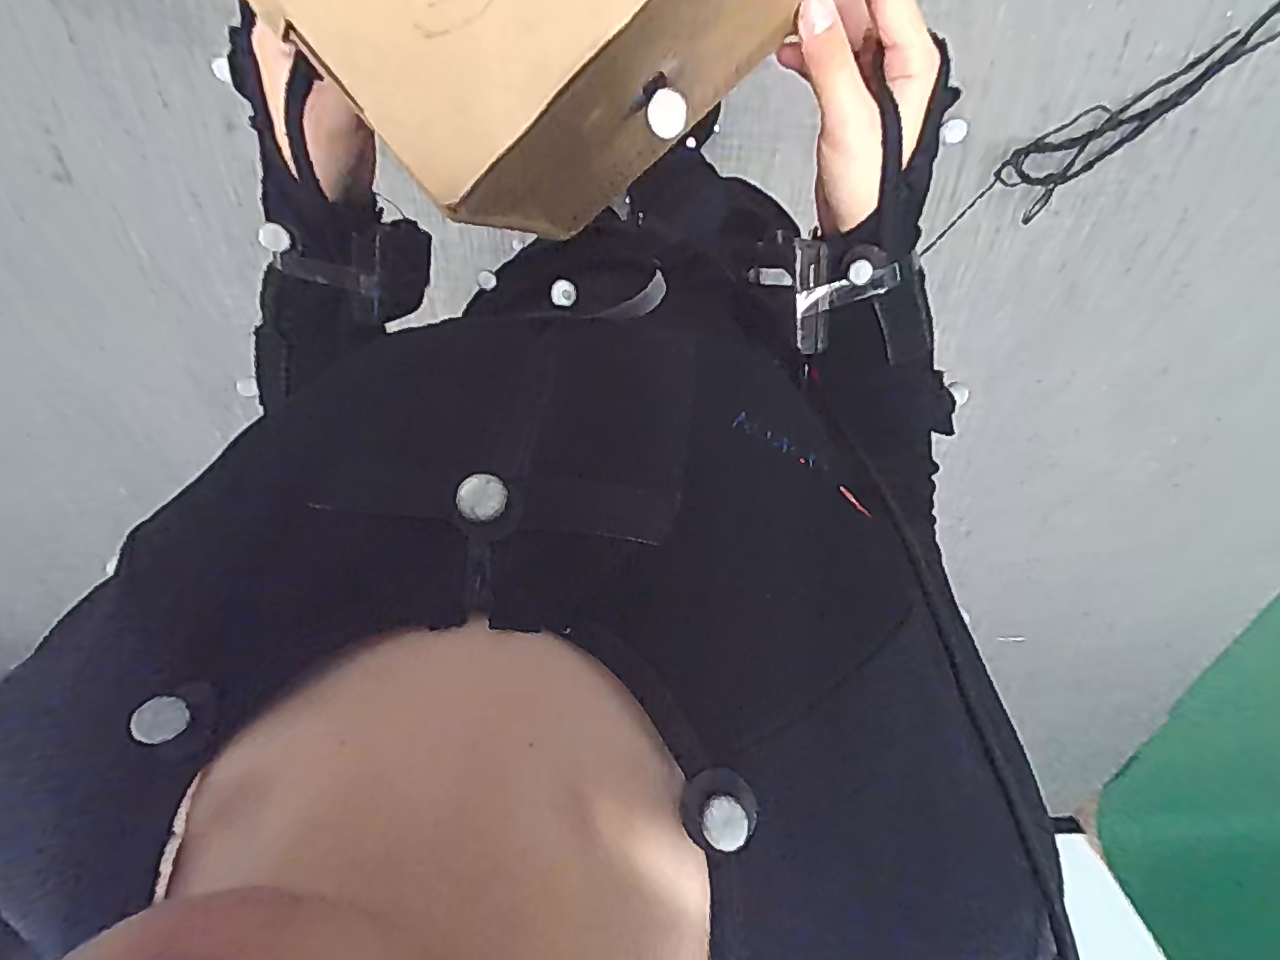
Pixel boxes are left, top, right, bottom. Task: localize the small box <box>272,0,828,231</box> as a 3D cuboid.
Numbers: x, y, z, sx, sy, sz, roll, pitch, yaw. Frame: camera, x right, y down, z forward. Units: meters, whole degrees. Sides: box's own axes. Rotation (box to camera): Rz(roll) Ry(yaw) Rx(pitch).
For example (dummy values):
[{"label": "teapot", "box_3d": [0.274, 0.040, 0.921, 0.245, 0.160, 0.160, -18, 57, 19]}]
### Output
[{"label": "small box", "box_3d": [-0.027, -0.210, 0.187, 0.179, 0.176, 0.168, -35, 105, 18]}]
